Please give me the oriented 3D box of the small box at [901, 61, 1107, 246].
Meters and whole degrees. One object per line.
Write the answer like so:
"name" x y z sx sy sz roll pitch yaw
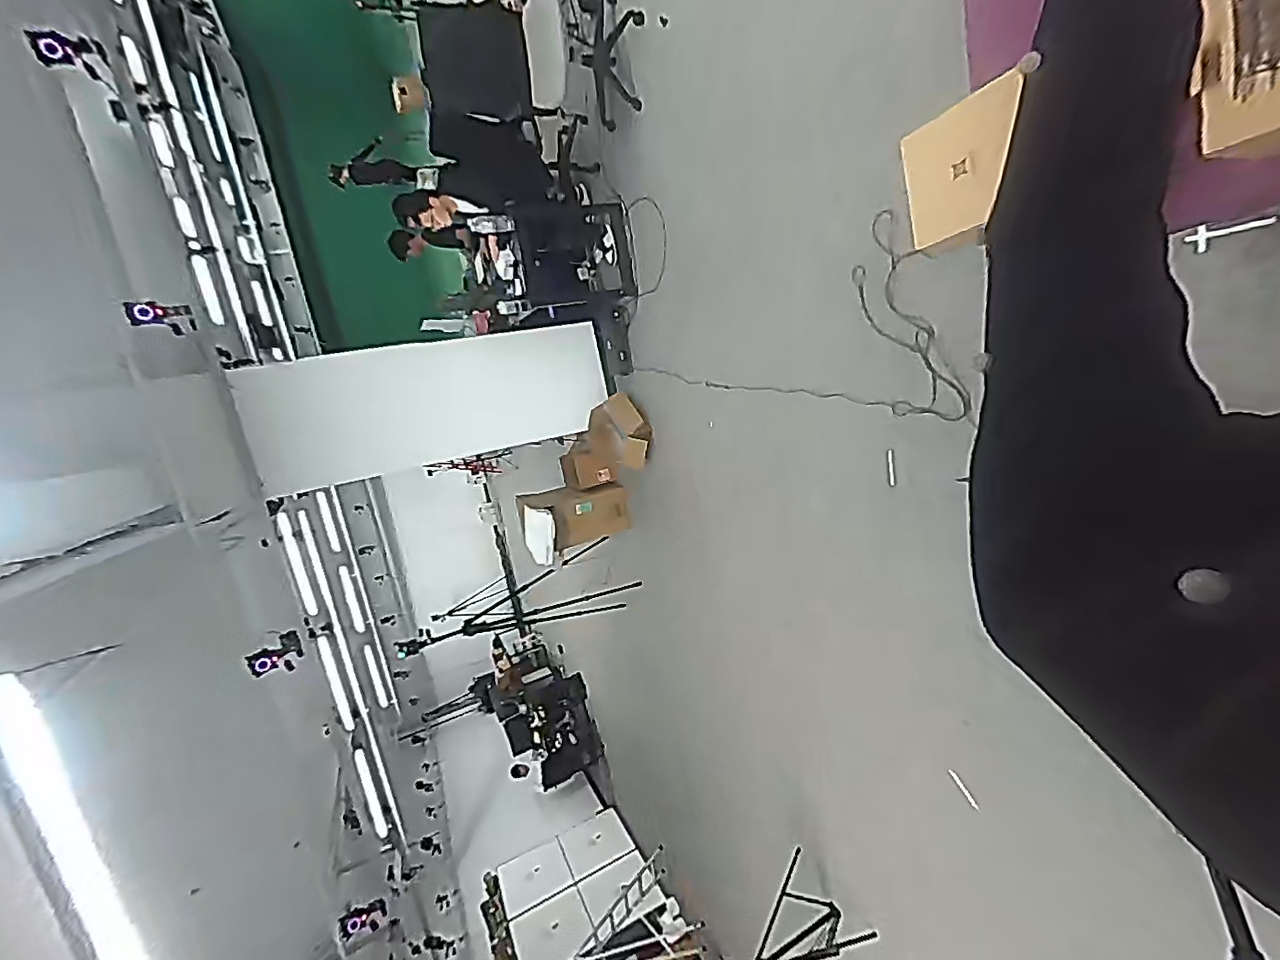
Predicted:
"small box" 0.512 -0.448 0.770 0.179 0.176 0.168 3 106 65
